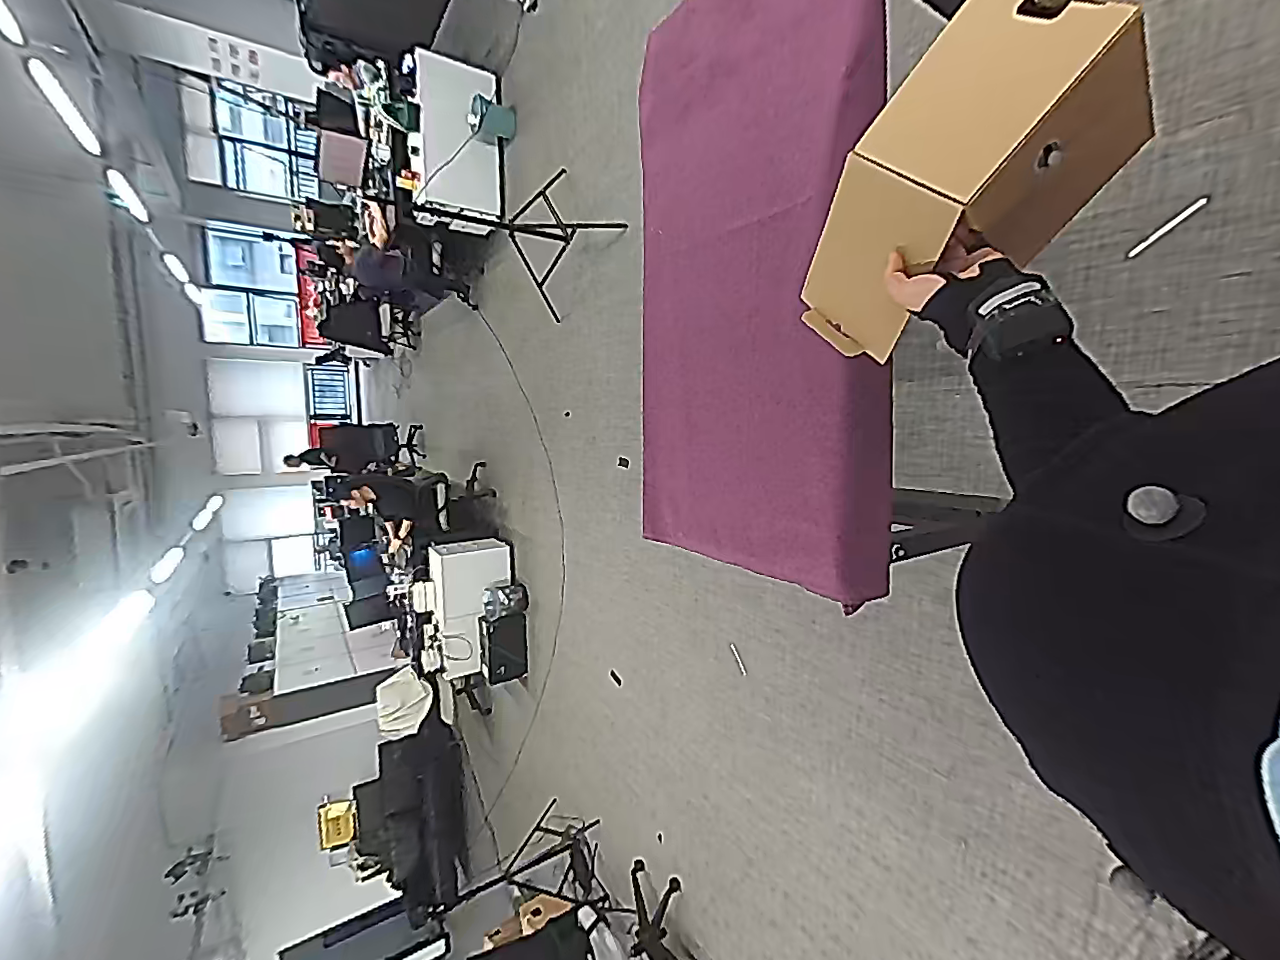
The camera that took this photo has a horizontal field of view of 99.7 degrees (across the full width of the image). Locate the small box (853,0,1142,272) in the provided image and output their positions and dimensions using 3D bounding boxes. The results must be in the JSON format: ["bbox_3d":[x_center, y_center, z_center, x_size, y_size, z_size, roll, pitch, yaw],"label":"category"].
[{"bbox_3d":[0.372,-0.354,0.567,0.179,0.176,0.168,-51,48,24],"label":"small box"}]
